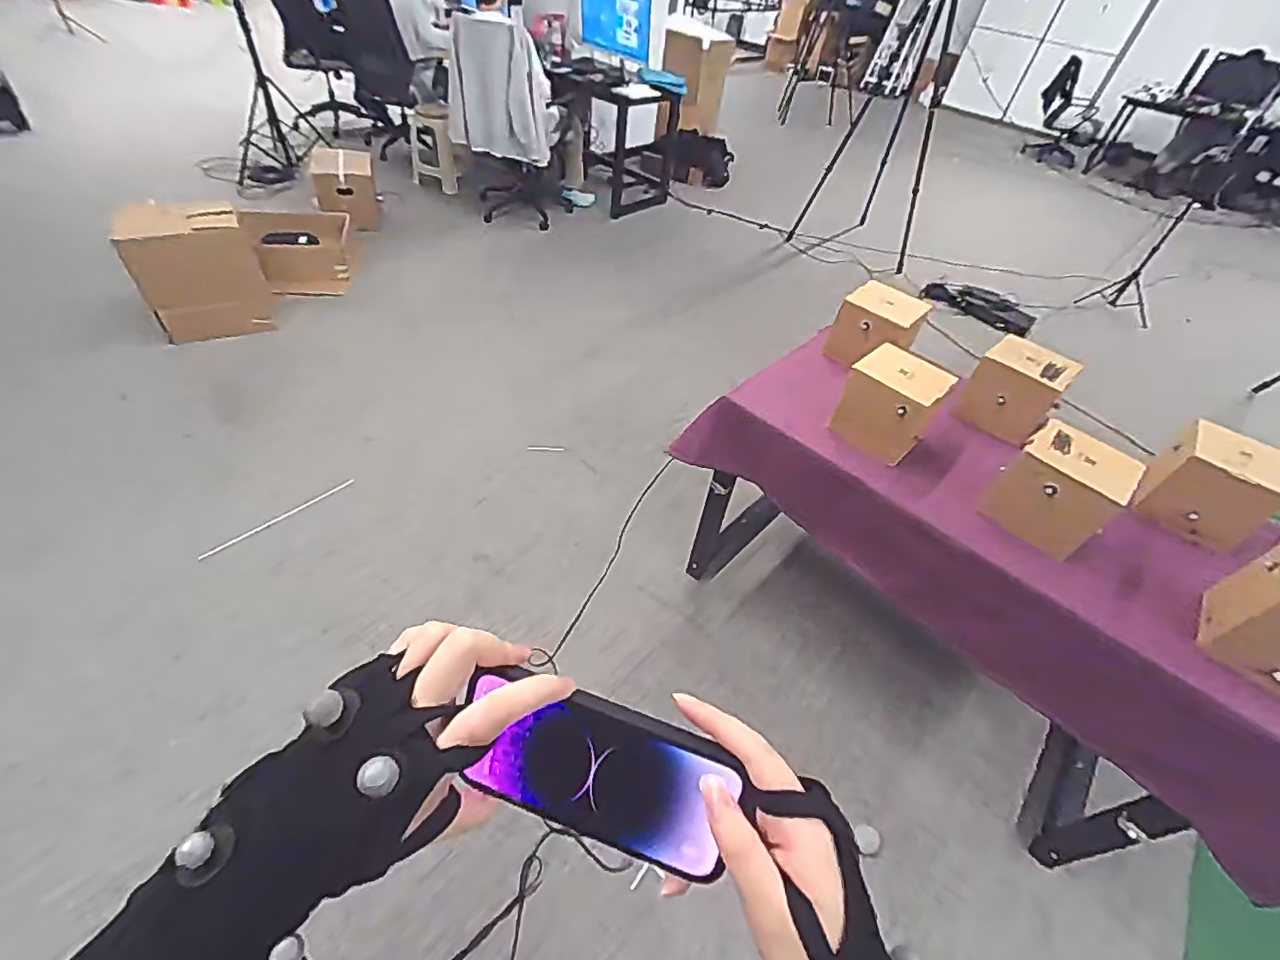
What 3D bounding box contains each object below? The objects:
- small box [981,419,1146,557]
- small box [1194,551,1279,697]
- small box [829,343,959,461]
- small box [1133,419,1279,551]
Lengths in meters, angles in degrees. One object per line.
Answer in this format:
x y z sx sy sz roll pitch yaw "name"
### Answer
0.818 0.017 1.060 0.168 0.176 0.179 -31 59 -32 "small box"
1.083 0.243 0.884 0.179 0.176 0.168 37 52 24 "small box"
0.555 -0.172 1.201 0.168 0.176 0.179 -33 60 -33 "small box"
1.178 0.010 1.120 0.168 0.176 0.179 35 52 24 "small box"
